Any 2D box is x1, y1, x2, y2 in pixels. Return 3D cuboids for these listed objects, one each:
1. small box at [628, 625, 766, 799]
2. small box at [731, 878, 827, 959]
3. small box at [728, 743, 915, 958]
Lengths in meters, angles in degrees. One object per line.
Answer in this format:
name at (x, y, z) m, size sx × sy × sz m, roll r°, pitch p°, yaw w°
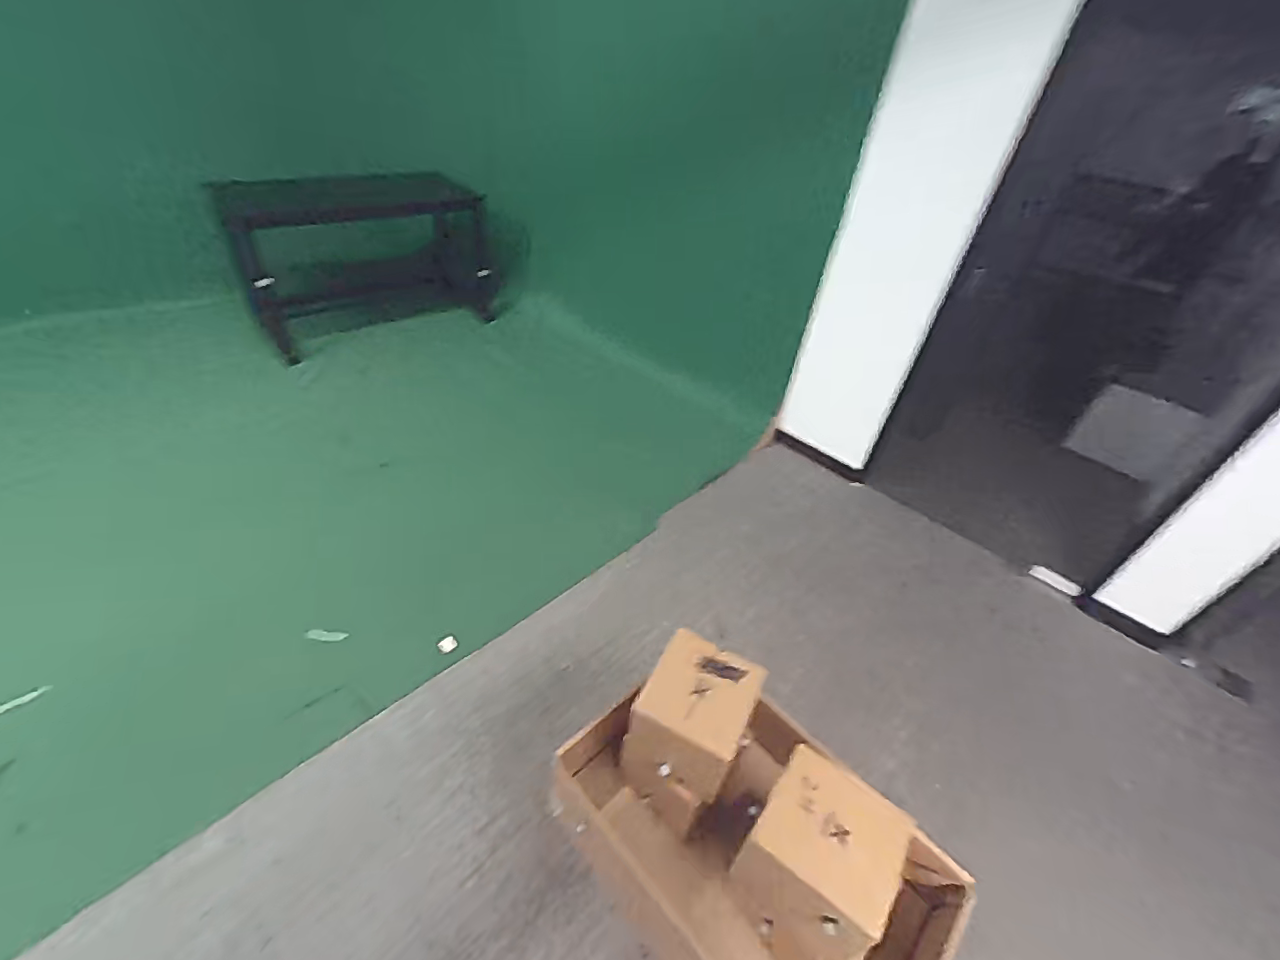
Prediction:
small box at (0.090, 0.388, 0.911) m, size 0.168 × 0.176 × 0.179 m, roll 24°, pitch 42°, yaw 20°
small box at (0.265, 0.657, 0.877) m, size 0.179 × 0.176 × 0.168 m, roll -19°, pitch 46°, yaw -29°
small box at (0.251, 0.527, 0.770) m, size 0.179 × 0.176 × 0.168 m, roll 29°, pitch 43°, yaw 26°
